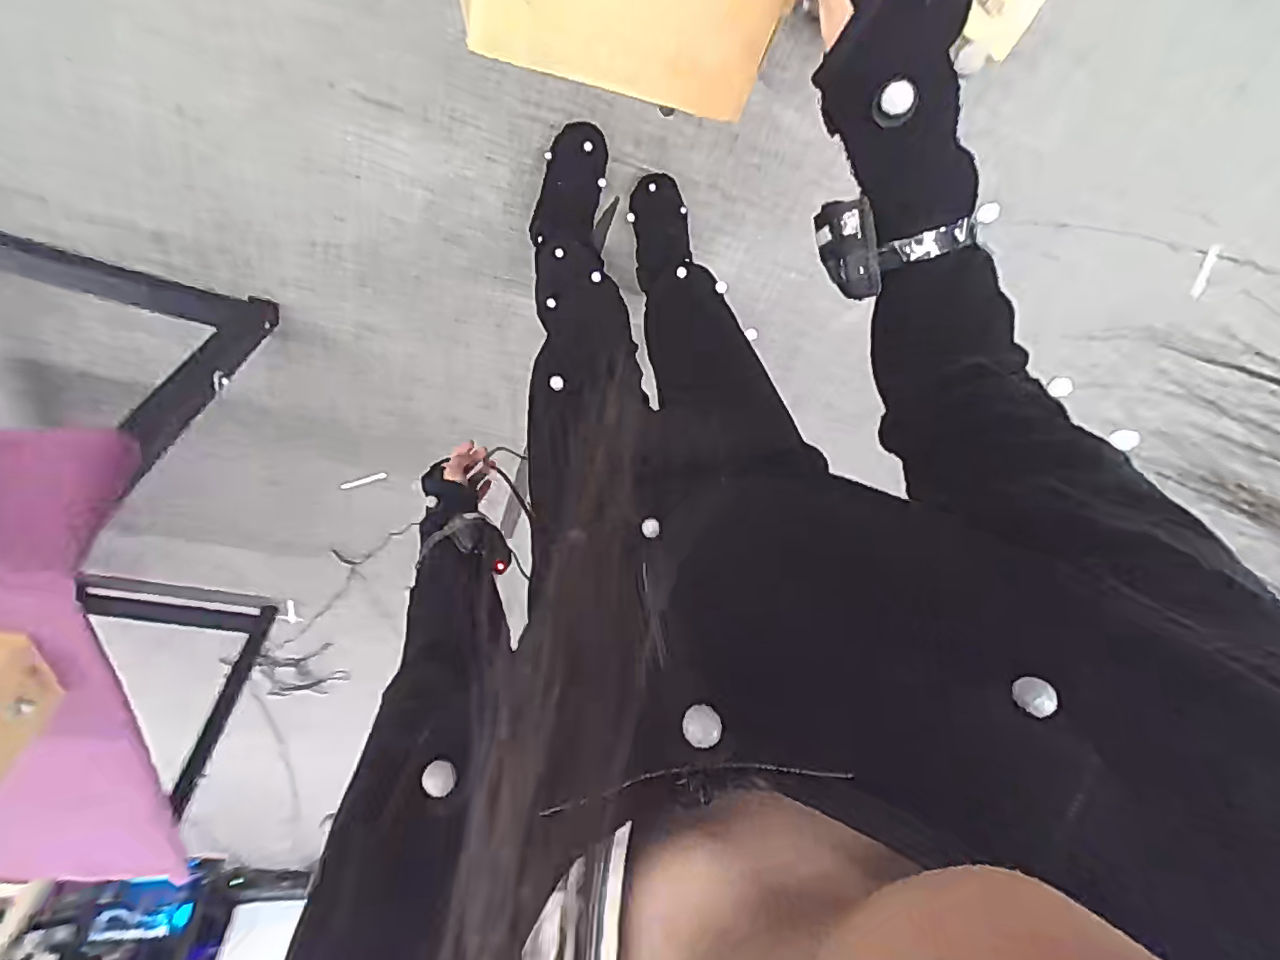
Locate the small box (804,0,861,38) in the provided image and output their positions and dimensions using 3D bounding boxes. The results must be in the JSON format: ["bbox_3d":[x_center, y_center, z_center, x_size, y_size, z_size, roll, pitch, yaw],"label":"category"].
[{"bbox_3d":[0.310,-0.793,0.796,0.179,0.176,0.168,16,128,-22],"label":"small box"}]

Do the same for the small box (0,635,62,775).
[{"bbox_3d":[-0.843,0.282,0.618,0.179,0.176,0.168,13,130,-18],"label":"small box"}]
